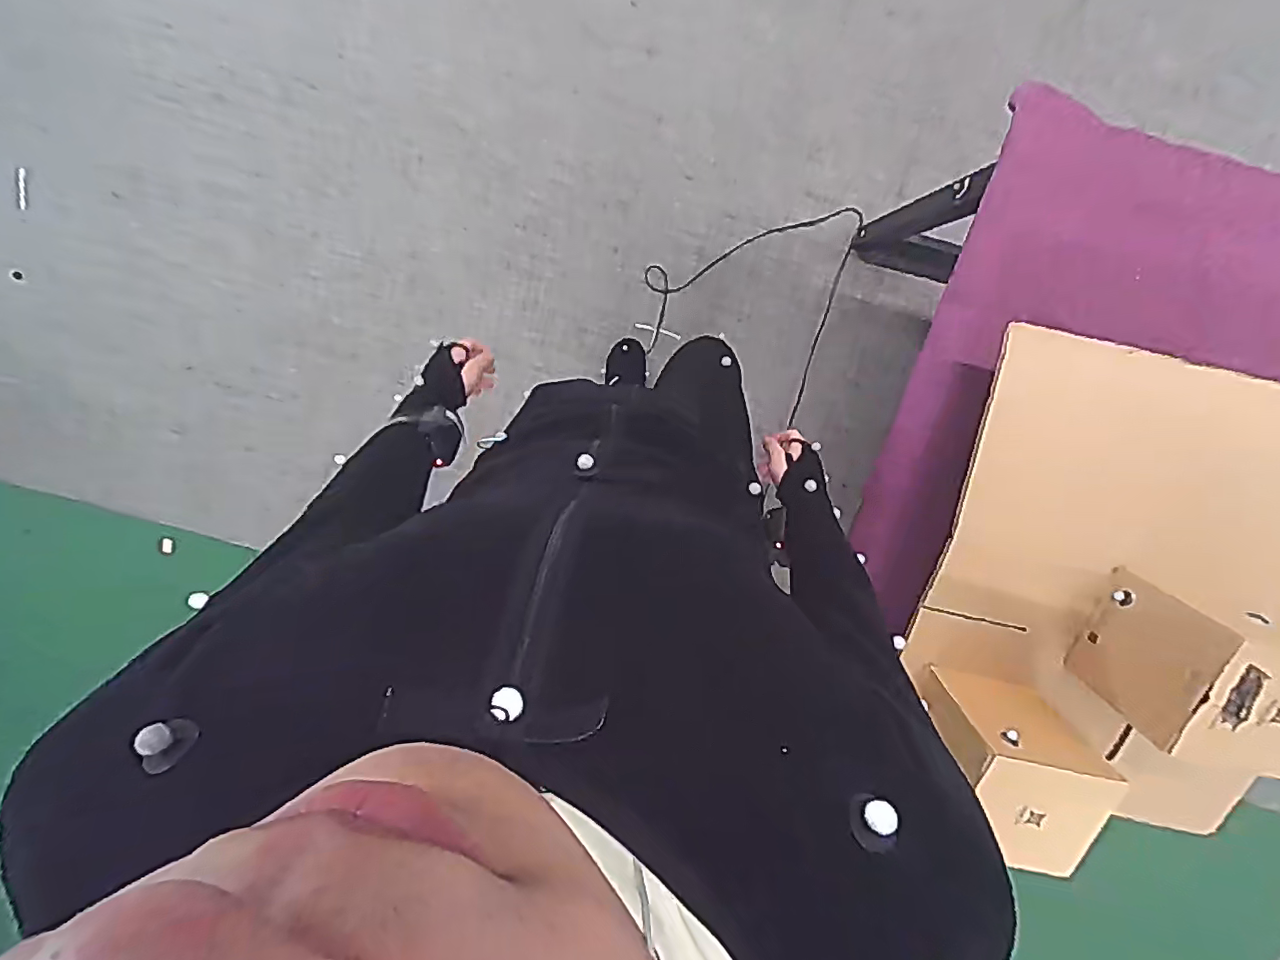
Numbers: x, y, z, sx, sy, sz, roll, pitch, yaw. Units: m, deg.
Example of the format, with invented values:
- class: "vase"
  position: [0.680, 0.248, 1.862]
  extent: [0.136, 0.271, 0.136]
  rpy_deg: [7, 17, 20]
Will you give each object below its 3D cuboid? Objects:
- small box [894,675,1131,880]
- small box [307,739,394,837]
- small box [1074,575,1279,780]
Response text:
- class: "small box"
  position: [0.488, 0.395, 0.740]
  extent: [0.179, 0.176, 0.168]
  rpy_deg: [12, 108, -2]
- class: "small box"
  position: [-0.875, 0.932, 1.644]
  extent: [0.168, 0.176, 0.179]
  rpy_deg: [17, 105, -4]
- class: "small box"
  position: [0.712, 0.238, 0.682]
  extent: [0.179, 0.176, 0.168]
  rpy_deg: [12, 108, -3]
